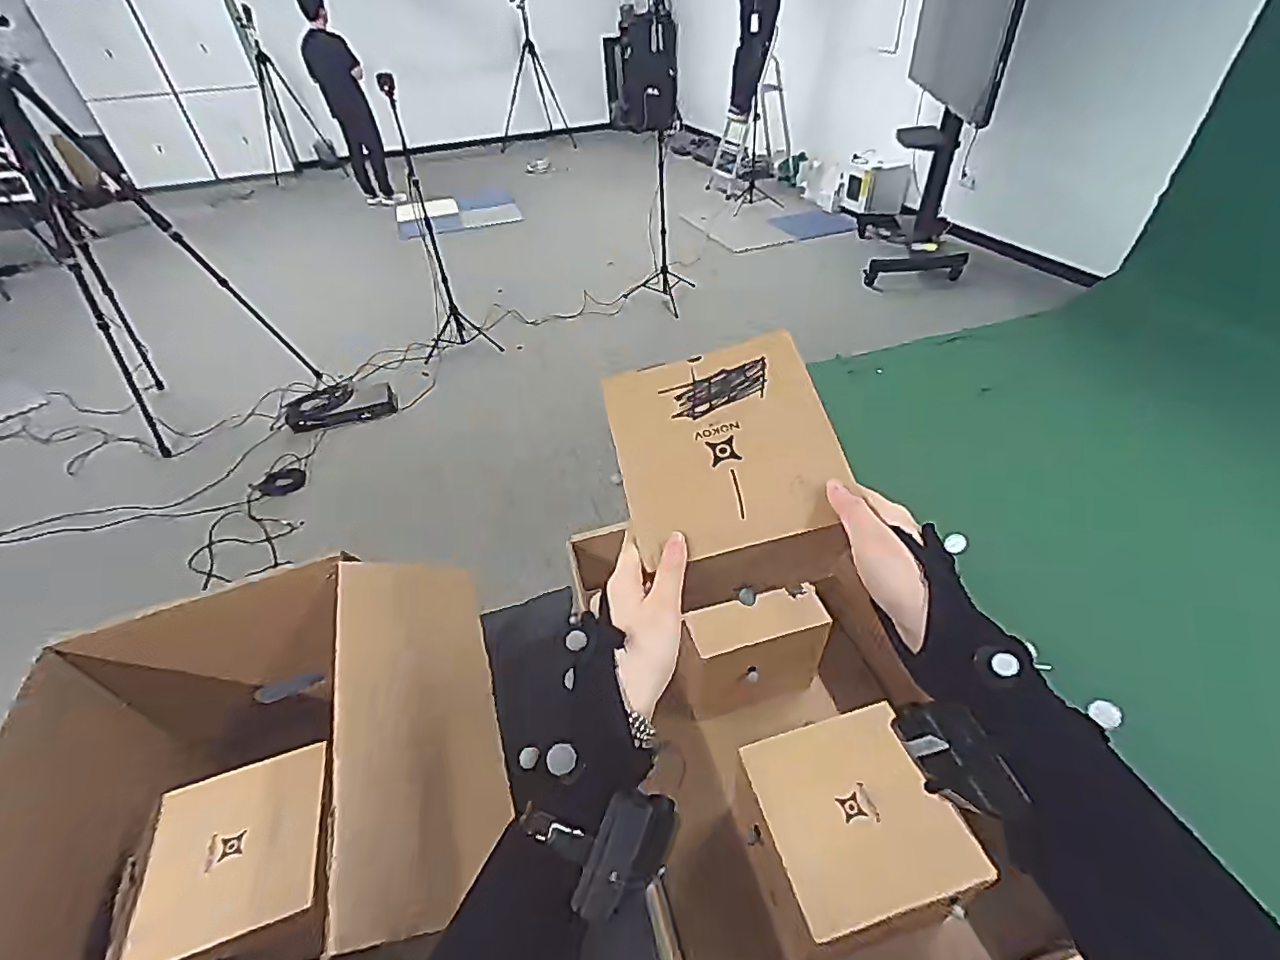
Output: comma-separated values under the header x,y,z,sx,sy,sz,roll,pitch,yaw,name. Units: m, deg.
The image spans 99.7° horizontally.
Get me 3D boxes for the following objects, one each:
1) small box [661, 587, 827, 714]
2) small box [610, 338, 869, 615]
x,y,z,sx,sy,sz,roll,pitch,yaw,name
0.135,0.199,0.758,0.179,0.176,0.168,-15,44,-8,small box
0.080,0.007,0.496,0.168,0.176,0.179,-15,63,3,small box
